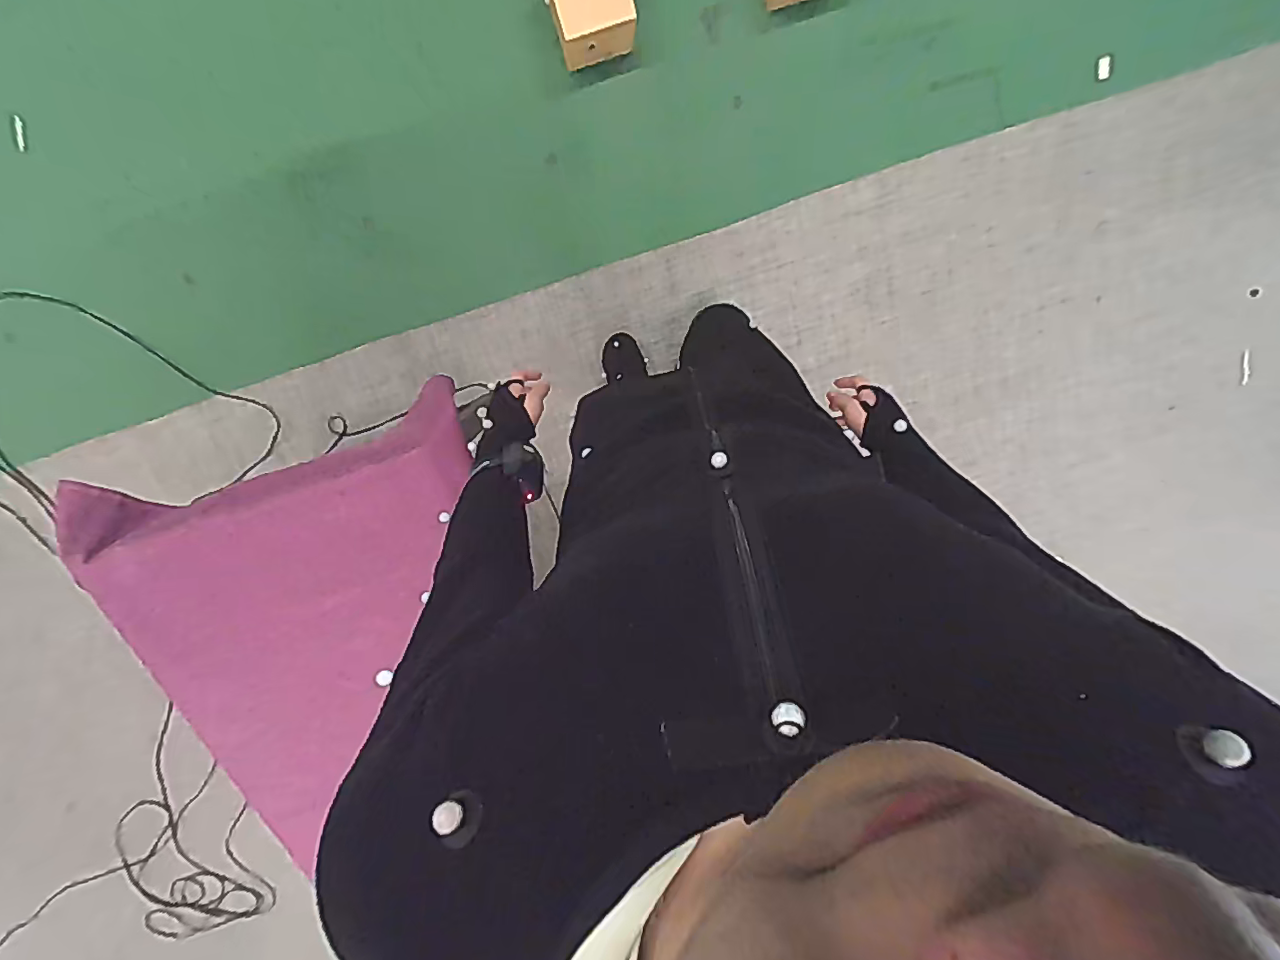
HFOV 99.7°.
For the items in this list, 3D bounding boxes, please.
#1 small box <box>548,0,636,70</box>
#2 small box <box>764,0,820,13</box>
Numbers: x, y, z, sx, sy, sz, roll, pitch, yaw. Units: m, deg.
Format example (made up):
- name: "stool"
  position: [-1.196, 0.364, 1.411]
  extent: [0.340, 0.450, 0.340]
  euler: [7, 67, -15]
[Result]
- name: "small box"
  position: [-0.113, -1.068, 1.222]
  extent: [0.168, 0.176, 0.179]
  euler: [-18, 107, 1]
- name: "small box"
  position: [0.368, -1.214, 1.217]
  extent: [0.168, 0.176, 0.179]
  euler: [-17, 107, 0]
